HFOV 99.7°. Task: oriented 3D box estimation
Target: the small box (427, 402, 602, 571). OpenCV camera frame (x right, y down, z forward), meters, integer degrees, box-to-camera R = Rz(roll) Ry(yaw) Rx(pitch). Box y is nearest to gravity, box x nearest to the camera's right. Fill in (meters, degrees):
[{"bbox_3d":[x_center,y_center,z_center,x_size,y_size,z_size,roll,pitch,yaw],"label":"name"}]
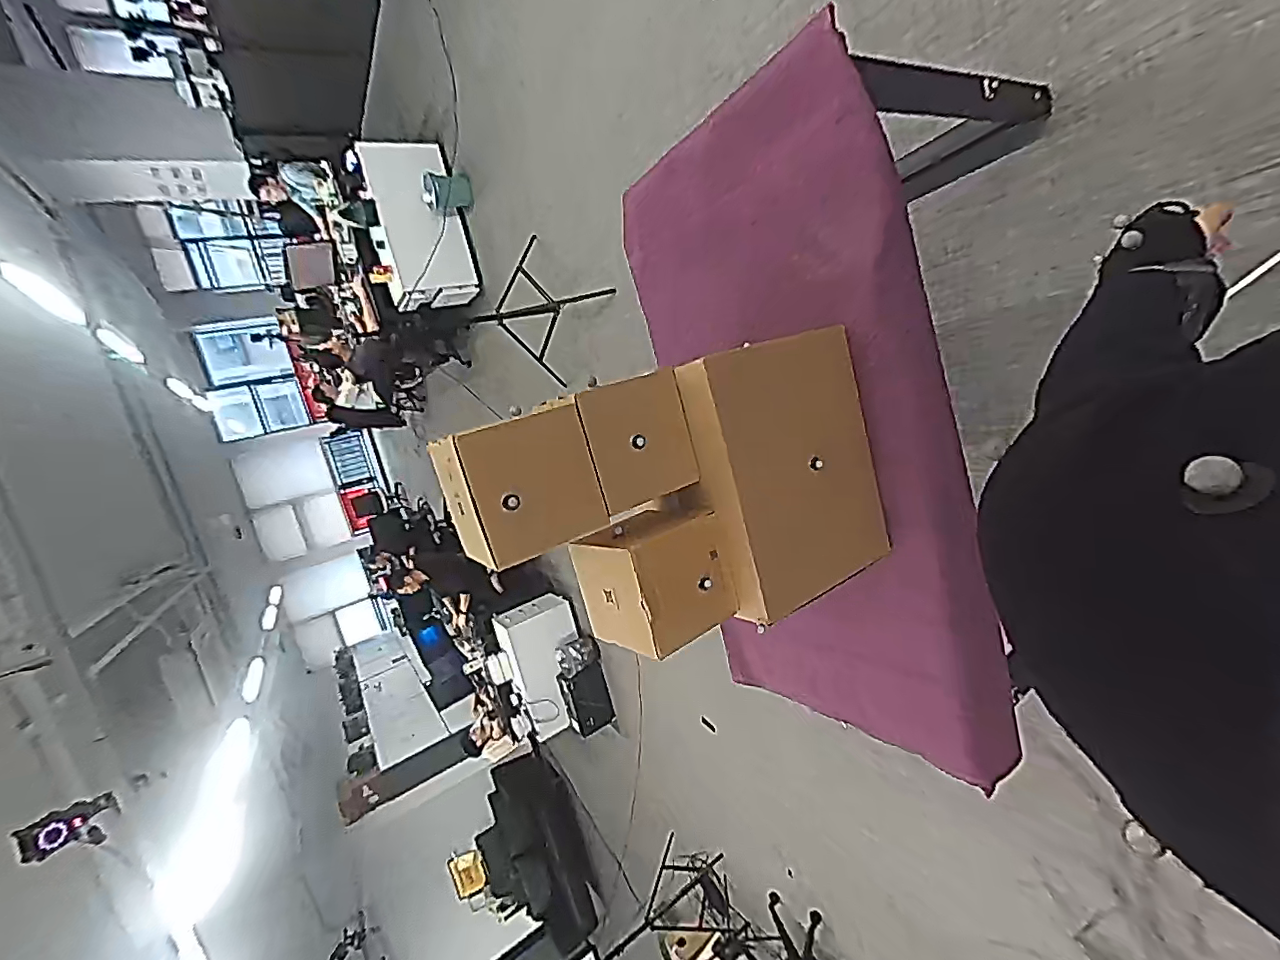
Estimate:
[{"bbox_3d":[-0.173,0.003,0.751,0.168,0.176,0.179,1,109,59],"label":"small box"}]
